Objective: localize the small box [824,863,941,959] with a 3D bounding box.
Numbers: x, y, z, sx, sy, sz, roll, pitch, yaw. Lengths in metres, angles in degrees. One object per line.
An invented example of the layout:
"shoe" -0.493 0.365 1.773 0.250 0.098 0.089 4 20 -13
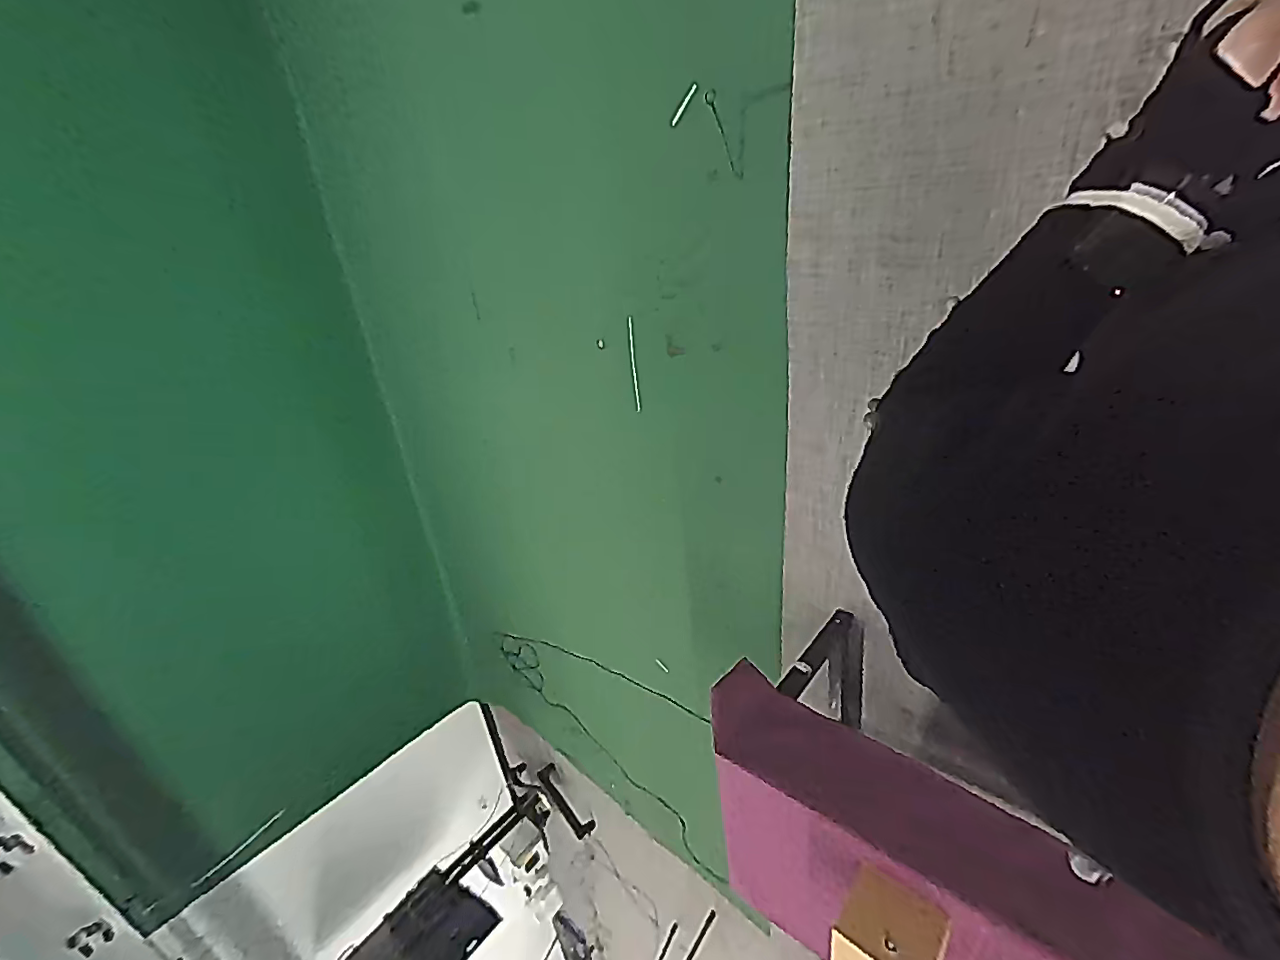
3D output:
"small box" 0.502 0.956 1.122 0.179 0.176 0.168 16 124 41
